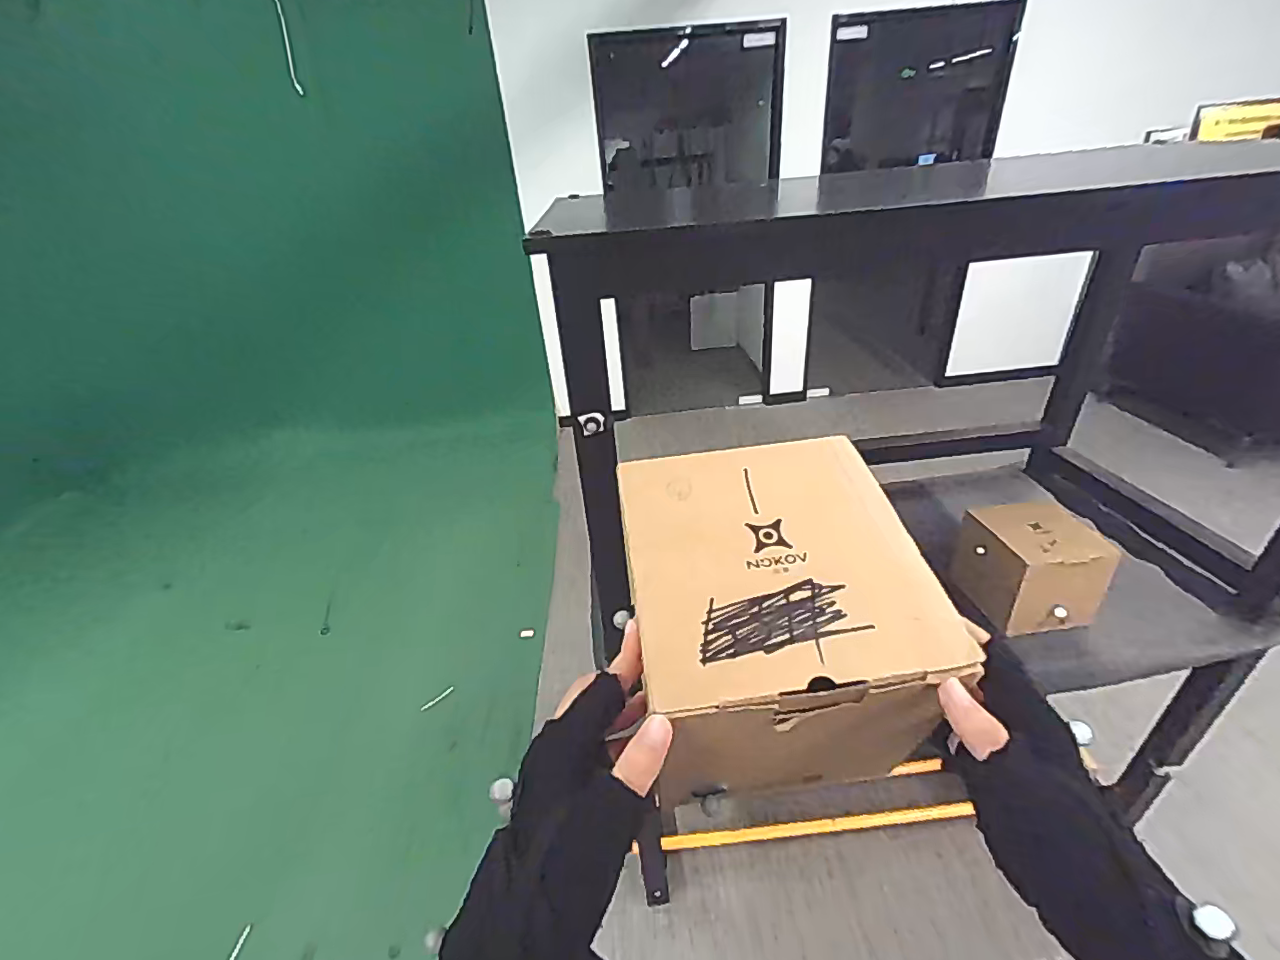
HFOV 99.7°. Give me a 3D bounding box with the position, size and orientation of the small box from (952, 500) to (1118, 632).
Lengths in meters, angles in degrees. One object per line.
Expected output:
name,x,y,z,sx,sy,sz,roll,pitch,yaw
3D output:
small box,0.722,0.158,1.015,0.168,0.176,0.179,-7,29,-2

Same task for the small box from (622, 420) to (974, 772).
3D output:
small box,0.082,0.084,0.378,0.168,0.176,0.179,-7,45,-3
